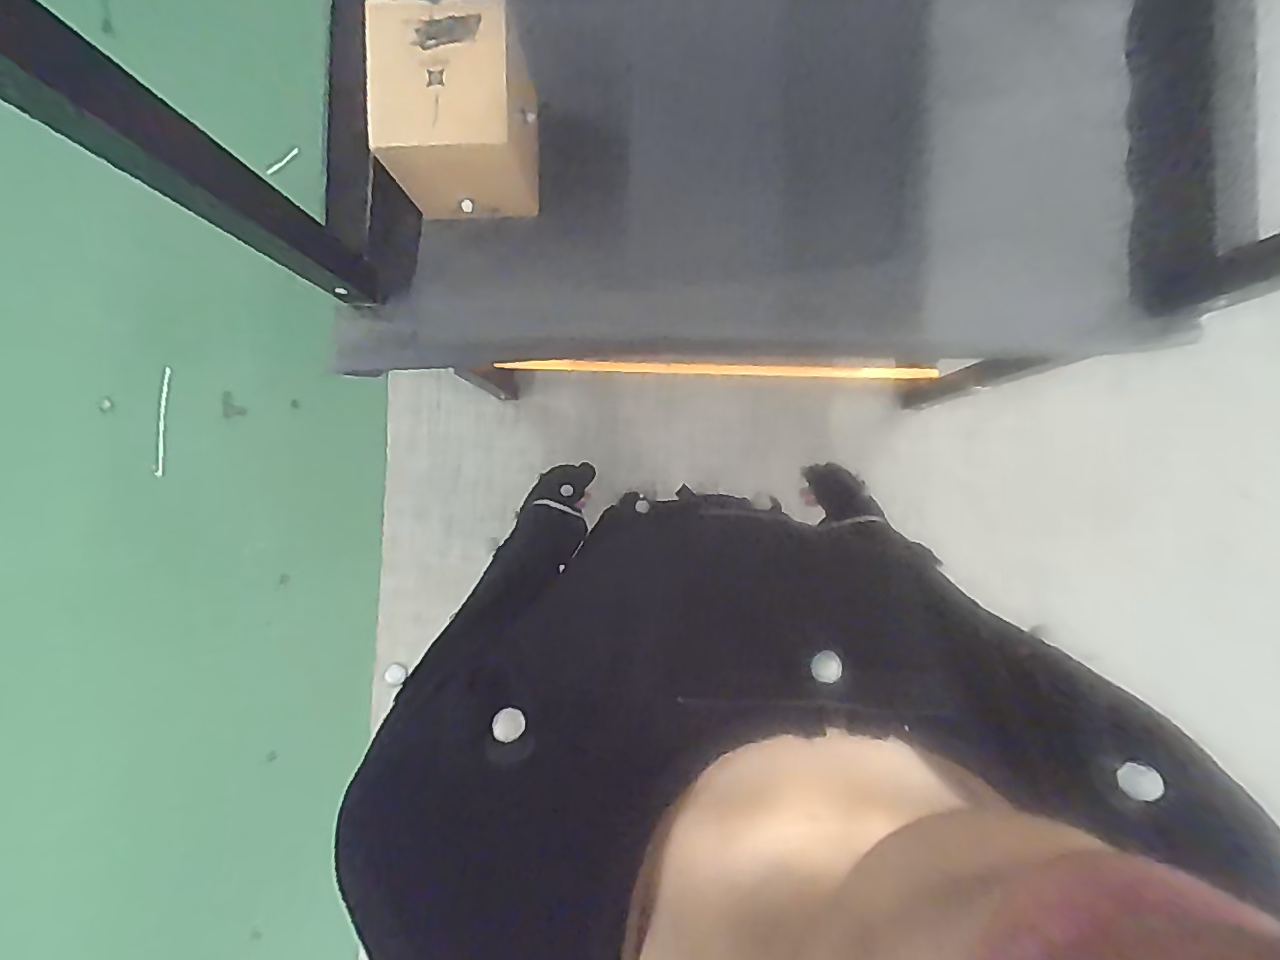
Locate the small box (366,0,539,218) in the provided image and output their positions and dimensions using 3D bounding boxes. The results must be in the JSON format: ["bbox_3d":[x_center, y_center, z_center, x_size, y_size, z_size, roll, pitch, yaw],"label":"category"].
[{"bbox_3d":[-0.232,-0.469,0.703,0.168,0.176,0.179,-1,89,2],"label":"small box"}]
